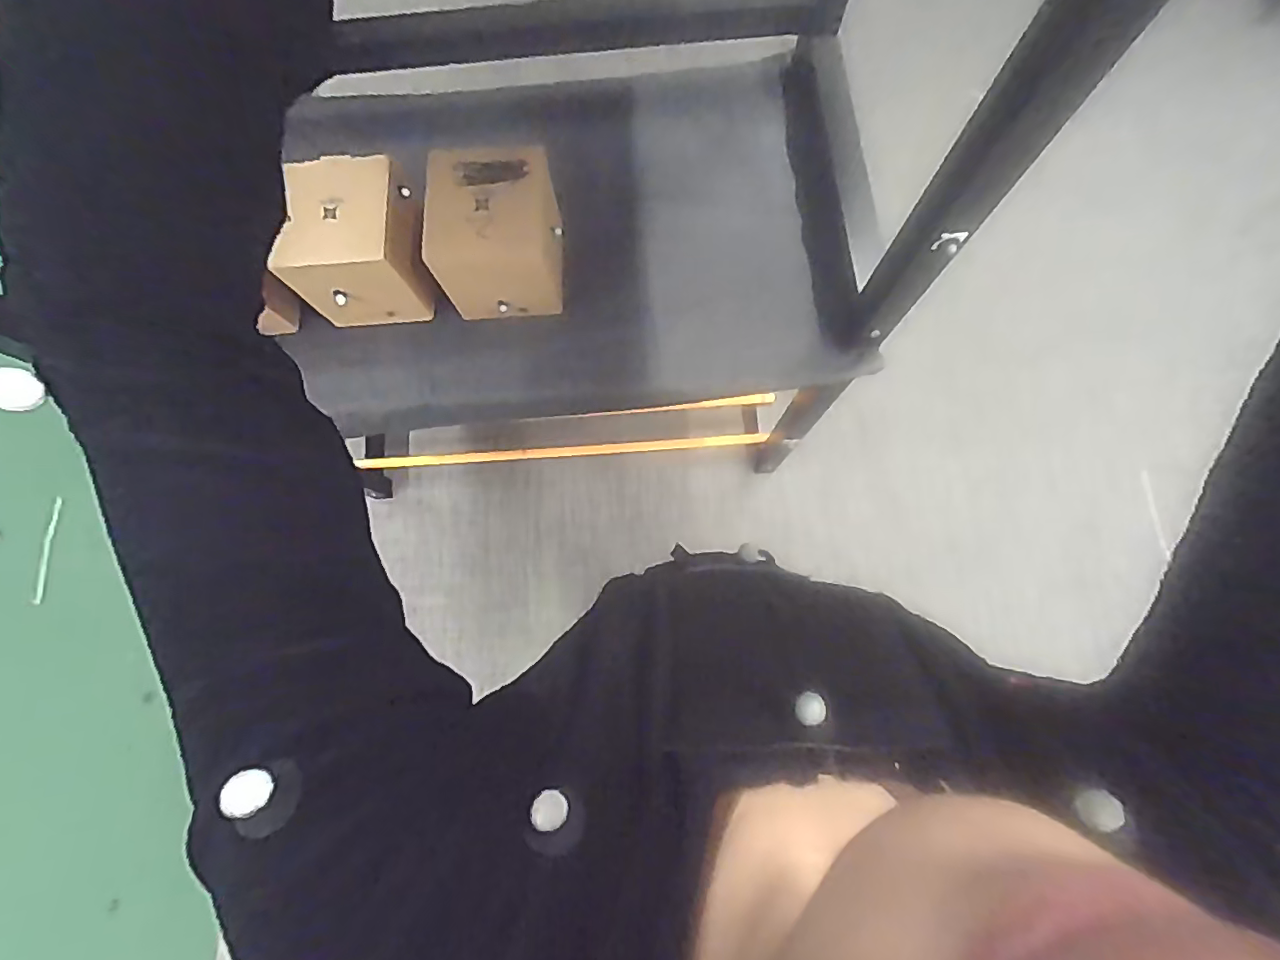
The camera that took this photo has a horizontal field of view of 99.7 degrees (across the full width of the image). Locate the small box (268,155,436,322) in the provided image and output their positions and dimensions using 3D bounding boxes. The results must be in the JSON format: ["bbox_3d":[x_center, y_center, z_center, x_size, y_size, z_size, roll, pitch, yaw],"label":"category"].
[{"bbox_3d":[-0.428,-0.358,0.833,0.168,0.176,0.179,-3,76,1],"label":"small box"}]
